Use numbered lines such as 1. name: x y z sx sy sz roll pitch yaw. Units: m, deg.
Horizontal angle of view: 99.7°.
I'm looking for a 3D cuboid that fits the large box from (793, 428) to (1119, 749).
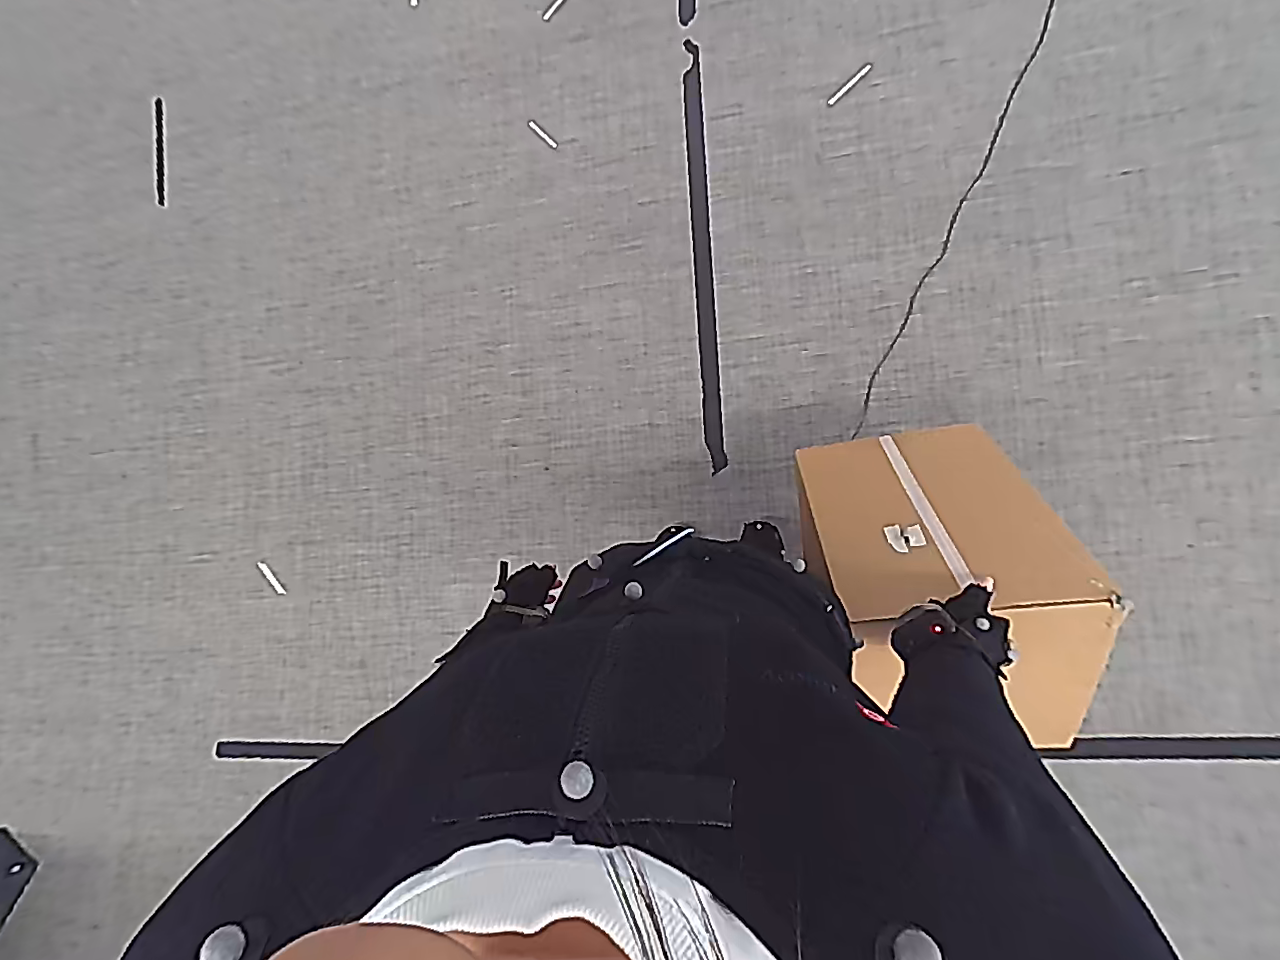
1. large box: 0.448 0.165 0.887 0.320 0.408 0.320 -9 125 12
